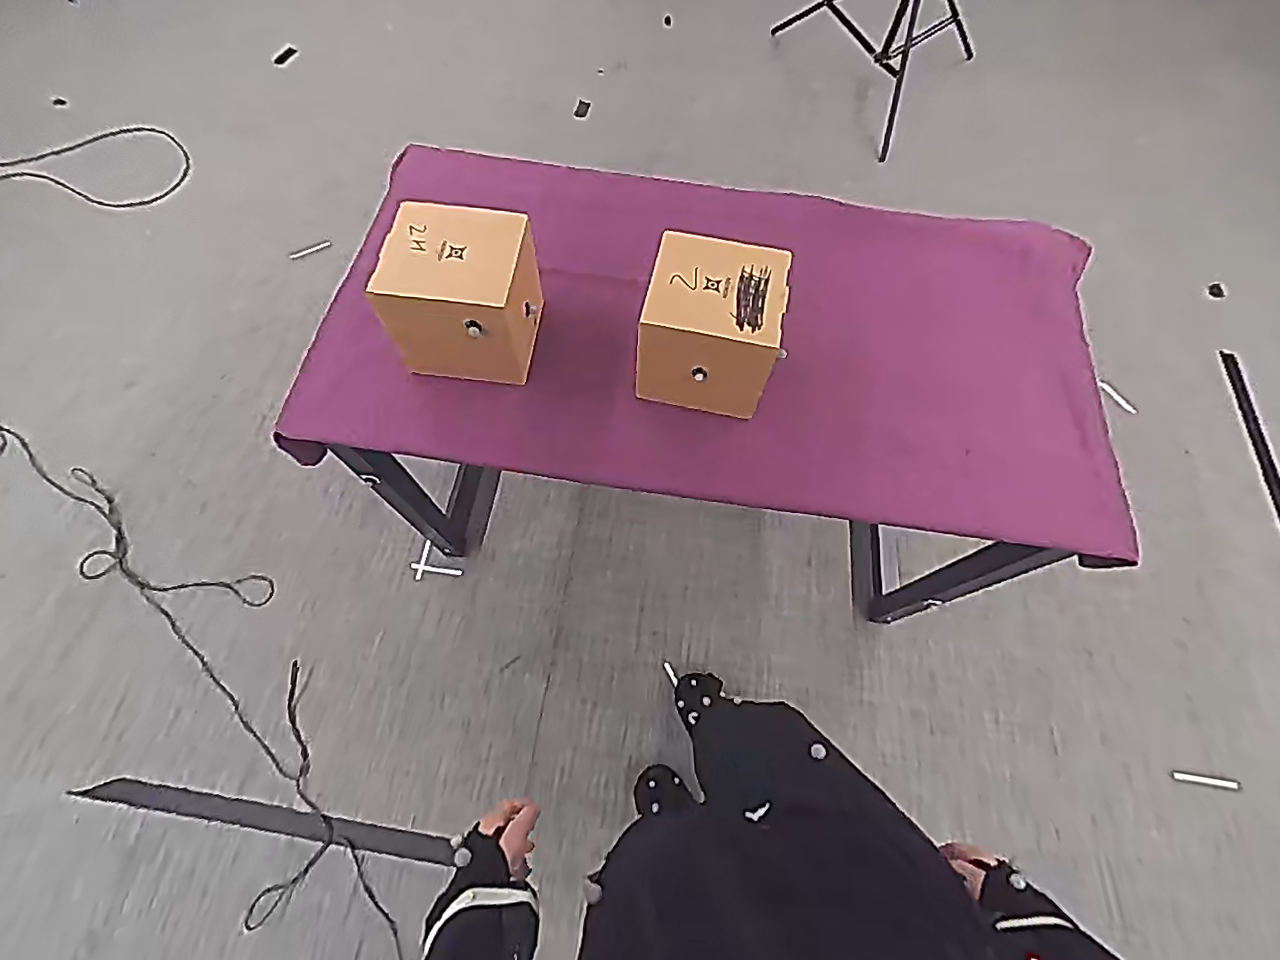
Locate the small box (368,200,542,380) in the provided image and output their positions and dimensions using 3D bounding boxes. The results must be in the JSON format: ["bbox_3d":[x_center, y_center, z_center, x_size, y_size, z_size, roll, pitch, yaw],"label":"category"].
[{"bbox_3d":[-0.243,-0.260,0.767,0.179,0.176,0.168,6,65,1],"label":"small box"}]
